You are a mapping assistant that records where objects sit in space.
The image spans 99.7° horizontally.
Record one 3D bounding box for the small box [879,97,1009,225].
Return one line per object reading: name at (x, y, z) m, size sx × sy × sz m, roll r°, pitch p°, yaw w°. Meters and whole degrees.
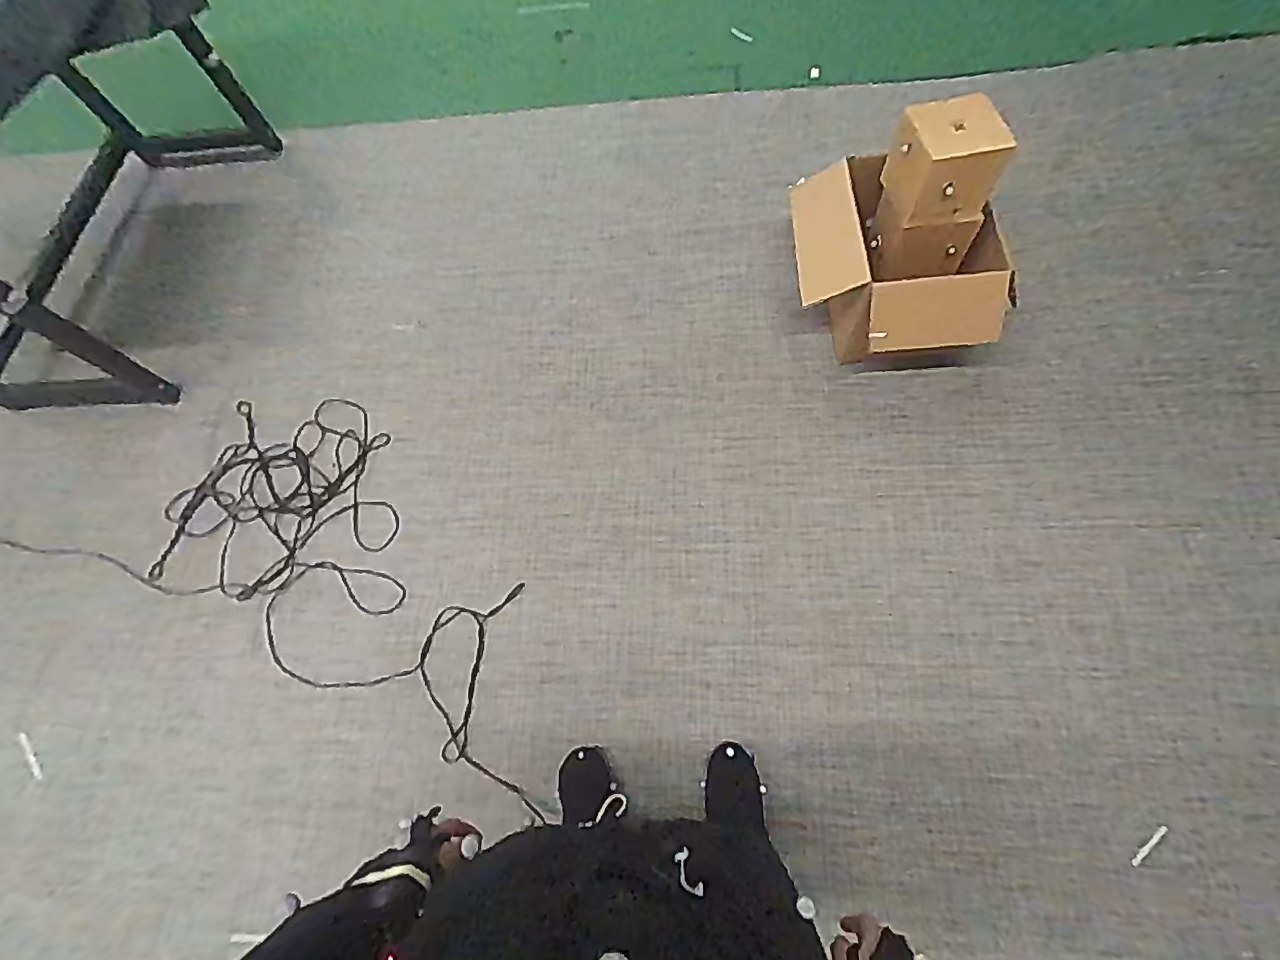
small box at (0.644, -0.677, 1.169) m, size 0.168 × 0.176 × 0.179 m, roll -9°, pitch 64°, yaw 2°
